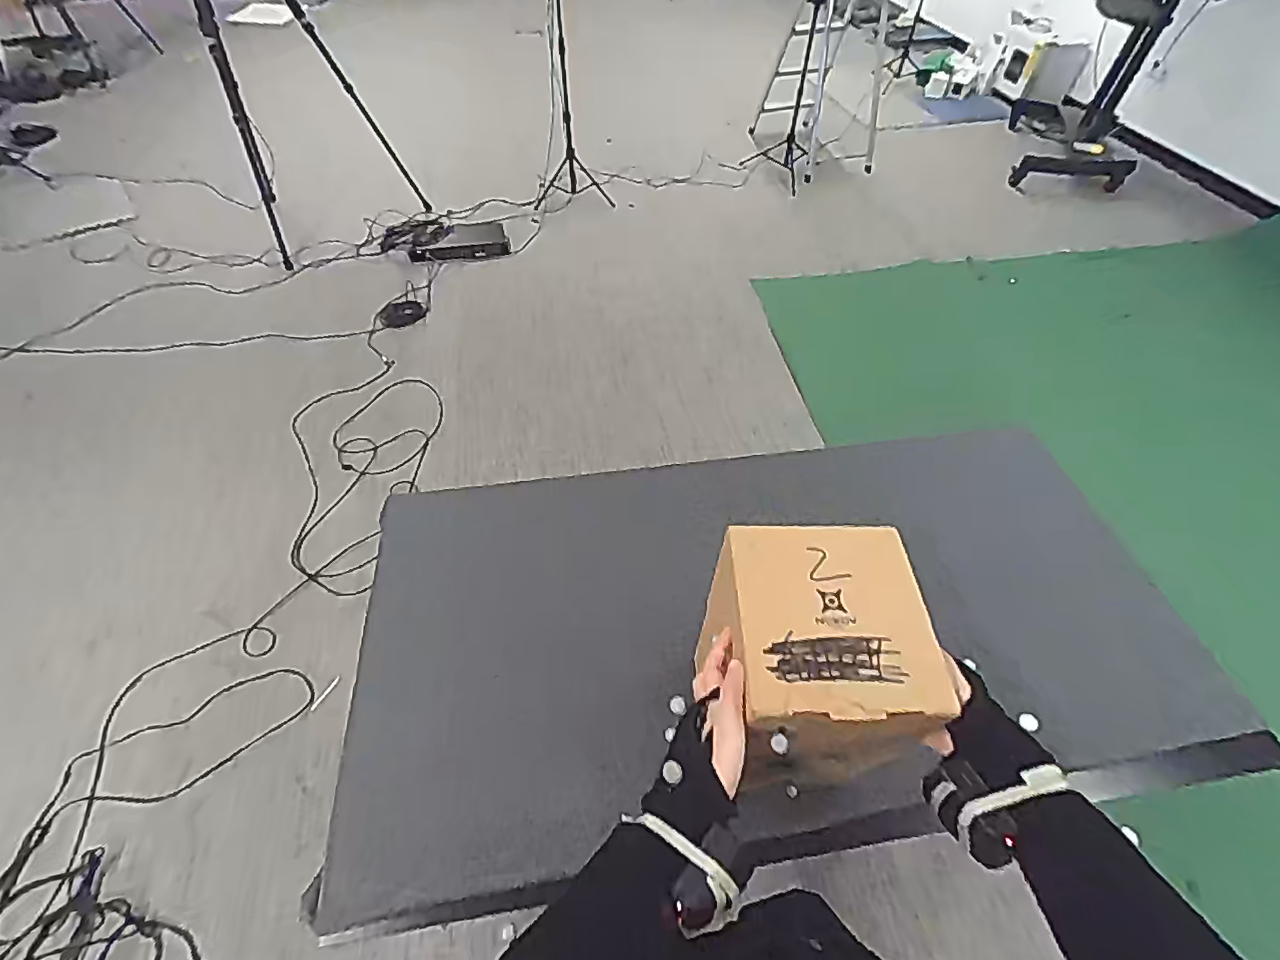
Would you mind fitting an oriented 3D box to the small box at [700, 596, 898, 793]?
[{"bbox_3d":[0.171,0.259,0.652,0.168,0.176,0.179,-3,52,-3],"label":"small box"}]
